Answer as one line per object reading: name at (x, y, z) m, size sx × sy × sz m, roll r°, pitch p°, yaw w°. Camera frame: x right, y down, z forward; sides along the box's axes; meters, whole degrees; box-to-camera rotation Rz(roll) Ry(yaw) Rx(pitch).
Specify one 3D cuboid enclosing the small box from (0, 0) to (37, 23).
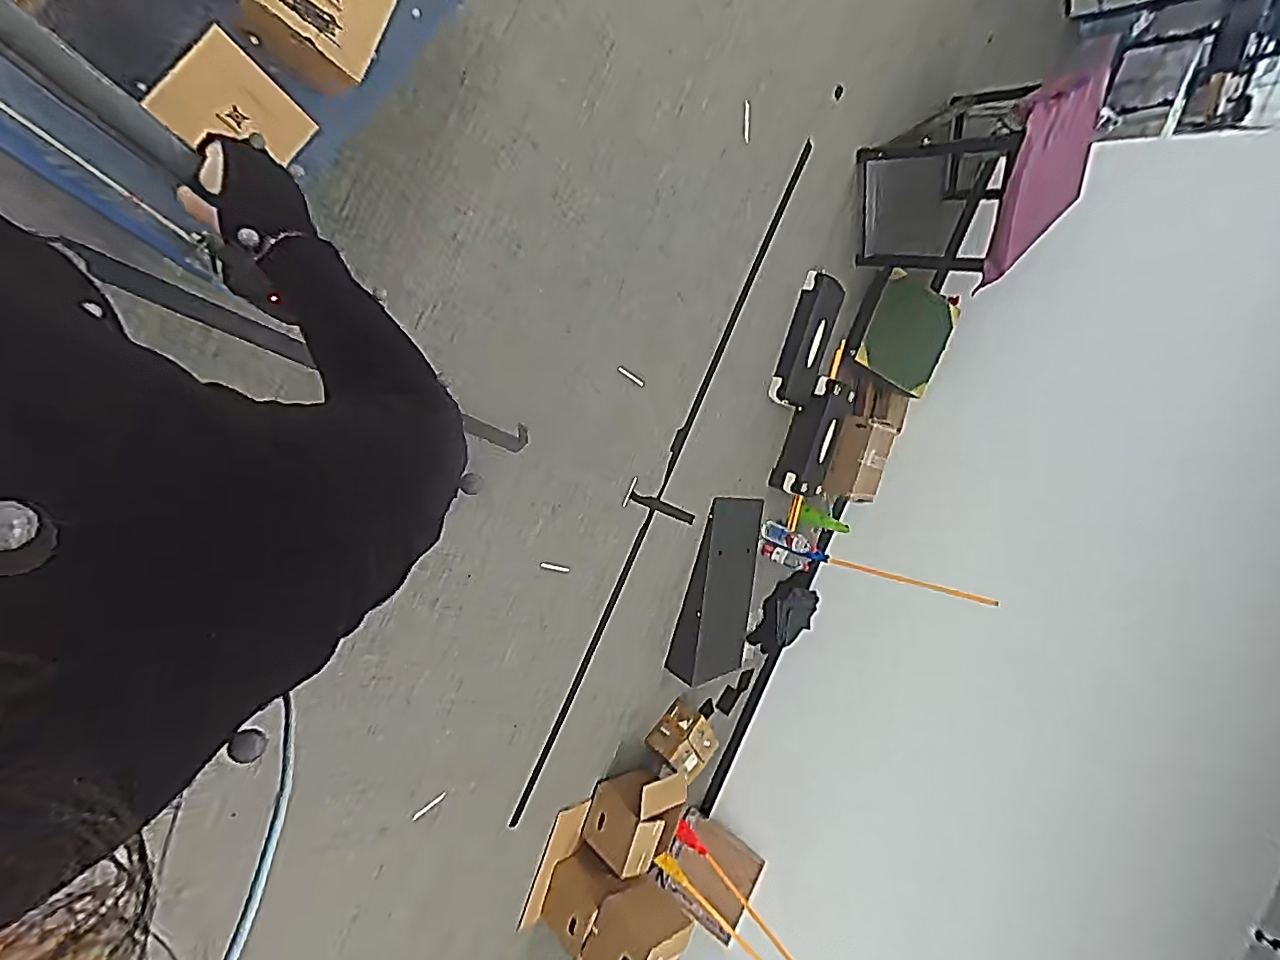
small box at (-0.842, -0.721, 0.668) m, size 0.168 × 0.176 × 0.179 m, roll 38°, pitch 80°, yaw -50°

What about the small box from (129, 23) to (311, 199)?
small box at (-0.693, -0.591, 0.892) m, size 0.179 × 0.176 × 0.168 m, roll -58°, pitch 139°, yaw -10°

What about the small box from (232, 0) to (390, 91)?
small box at (-0.564, -0.812, 0.923) m, size 0.168 × 0.176 × 0.179 m, roll 25°, pitch 89°, yaw -50°
